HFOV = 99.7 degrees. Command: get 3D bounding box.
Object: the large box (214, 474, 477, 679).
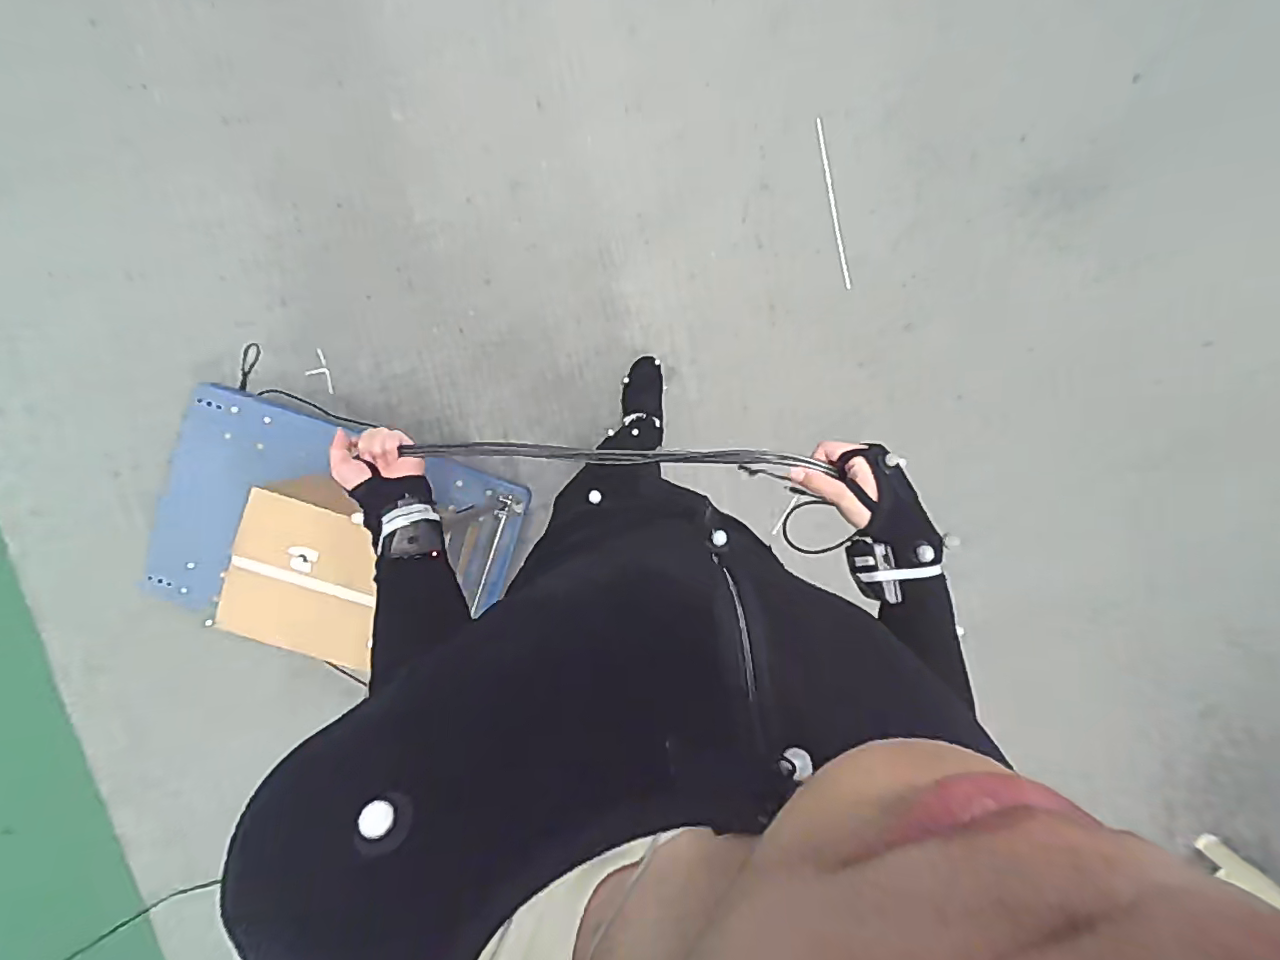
[{"bbox_3d":[-0.643,0.201,1.253,0.408,0.320,0.320,19,94,-4],"label":"large box"}]
